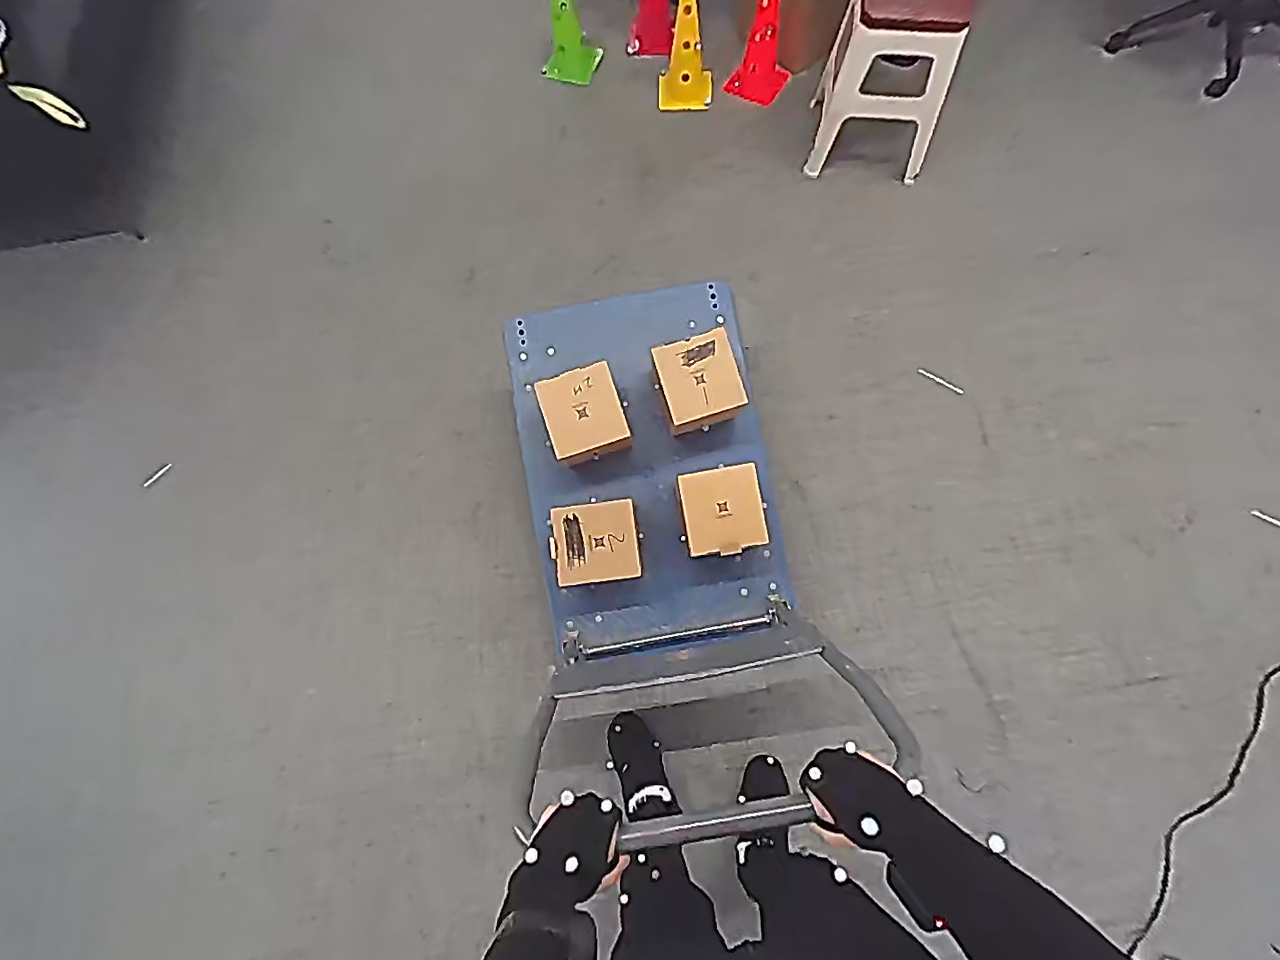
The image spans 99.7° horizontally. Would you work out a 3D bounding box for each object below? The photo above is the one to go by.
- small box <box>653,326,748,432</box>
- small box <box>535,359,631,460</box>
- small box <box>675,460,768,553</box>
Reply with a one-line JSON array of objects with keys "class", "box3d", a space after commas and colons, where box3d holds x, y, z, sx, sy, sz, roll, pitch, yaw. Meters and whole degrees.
[{"class": "small box", "box3d": [0.128, -0.221, 1.226, 0.168, 0.176, 0.179, -17, 87, 0]}, {"class": "small box", "box3d": [-0.121, -0.149, 1.226, 0.168, 0.176, 0.179, -18, 87, -1]}, {"class": "small box", "box3d": [0.175, 0.061, 1.211, 0.168, 0.176, 0.179, -10, 87, 0]}]
